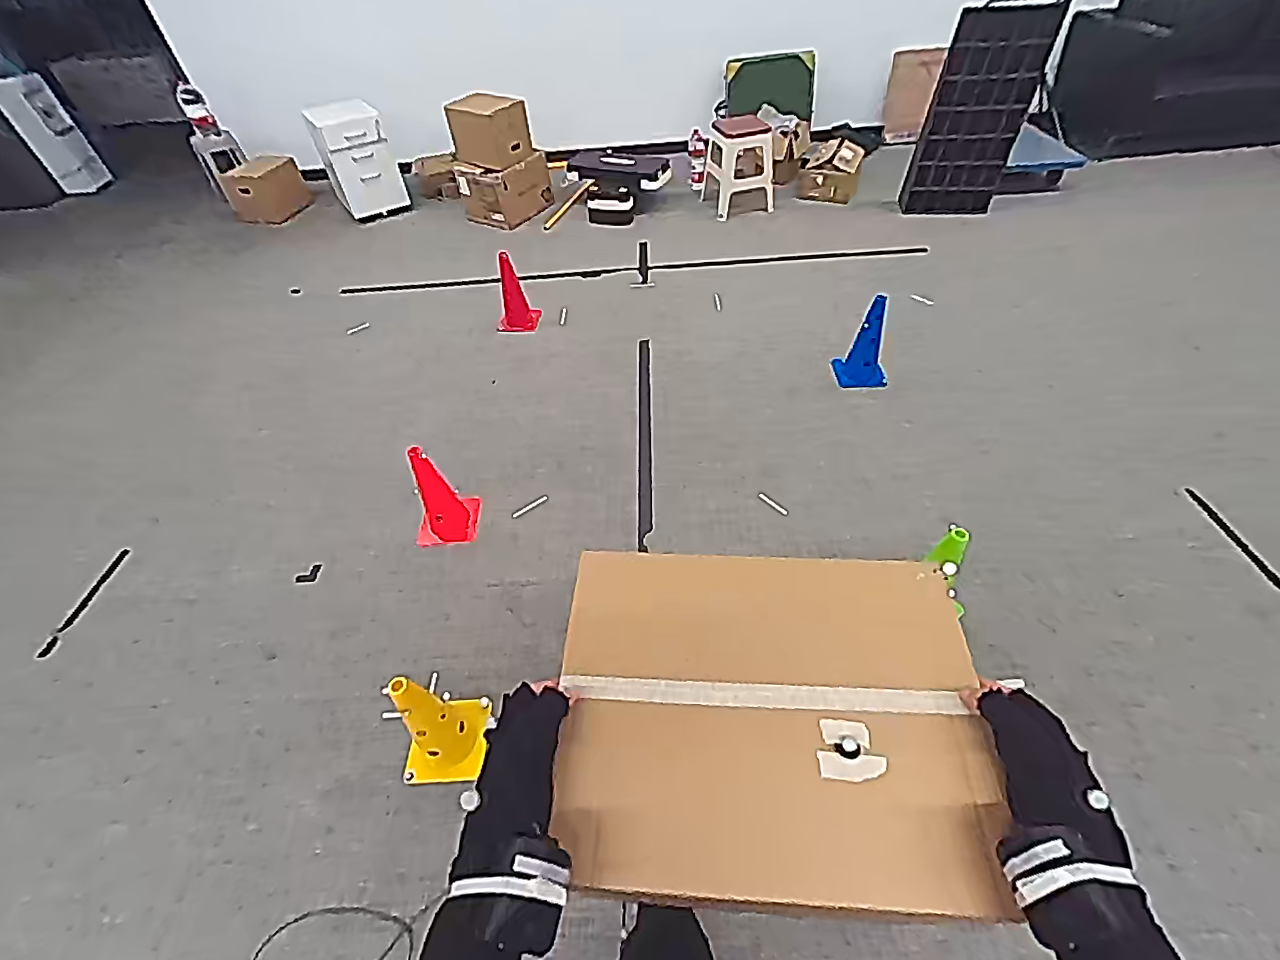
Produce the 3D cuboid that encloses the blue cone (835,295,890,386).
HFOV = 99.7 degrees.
[{"bbox_3d":[0.942,-0.577,2.219,0.192,0.380,0.193,0,48,4],"label":"blue cone"}]

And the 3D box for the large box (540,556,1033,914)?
[{"bbox_3d":[0.124,0.305,0.642,0.408,0.320,0.320,1,51,4],"label":"large box"}]

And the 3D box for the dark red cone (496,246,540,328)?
[{"bbox_3d":[-0.631,-0.943,2.644,0.201,0.394,0.202,2,48,5],"label":"dark red cone"}]

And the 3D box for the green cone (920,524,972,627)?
[{"bbox_3d":[0.803,0.247,1.456,0.202,0.368,0.200,-31,53,-23],"label":"green cone"}]

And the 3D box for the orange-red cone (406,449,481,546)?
[{"bbox_3d":[-0.683,0.035,1.789,0.198,0.360,0.199,-6,49,1],"label":"orange-red cone"}]
